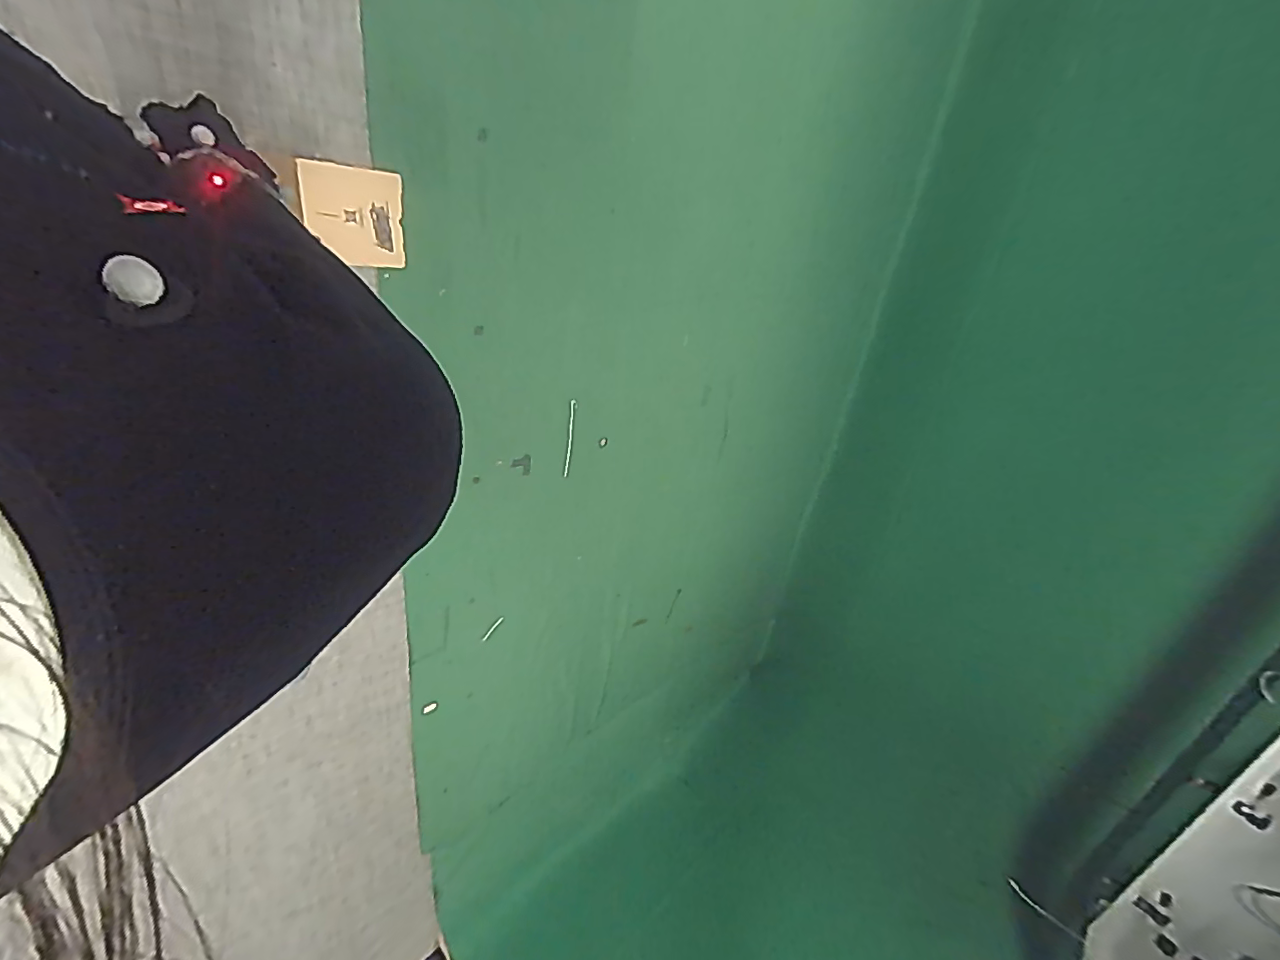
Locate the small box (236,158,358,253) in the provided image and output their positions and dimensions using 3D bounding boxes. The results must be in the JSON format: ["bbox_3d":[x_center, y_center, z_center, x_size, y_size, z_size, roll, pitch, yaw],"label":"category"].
[{"bbox_3d":[-0.696,-0.560,1.117,0.179,0.176,0.168,-19,126,-42],"label":"small box"}]

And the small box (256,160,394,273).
[{"bbox_3d":[-0.586,-0.492,1.014,0.179,0.176,0.168,-17,124,-44],"label":"small box"}]
